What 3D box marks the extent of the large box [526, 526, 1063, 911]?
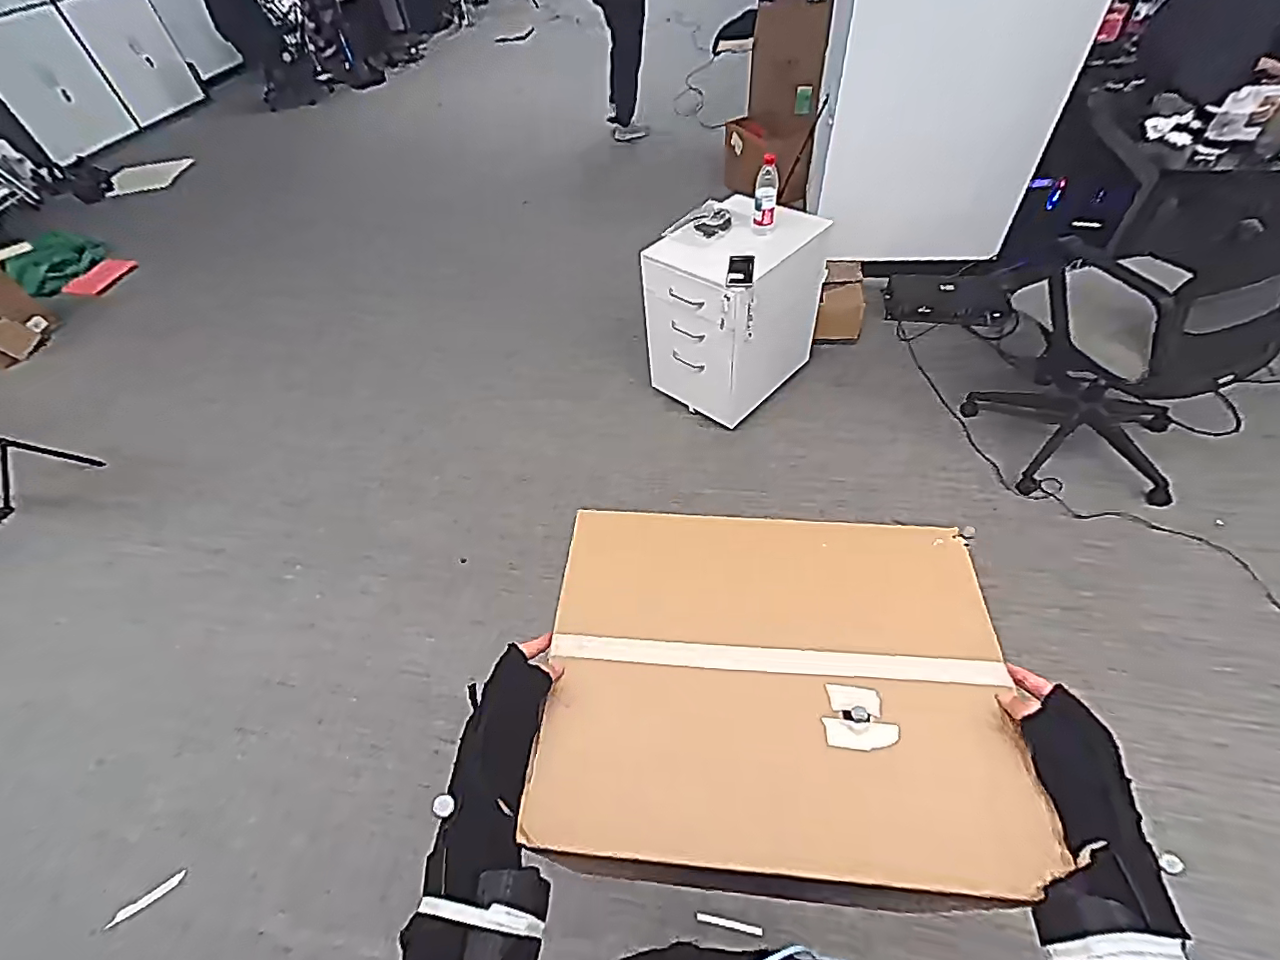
[{"bbox_3d":[0.122,0.270,0.607,0.408,0.320,0.320,3,52,5],"label":"large box"}]
